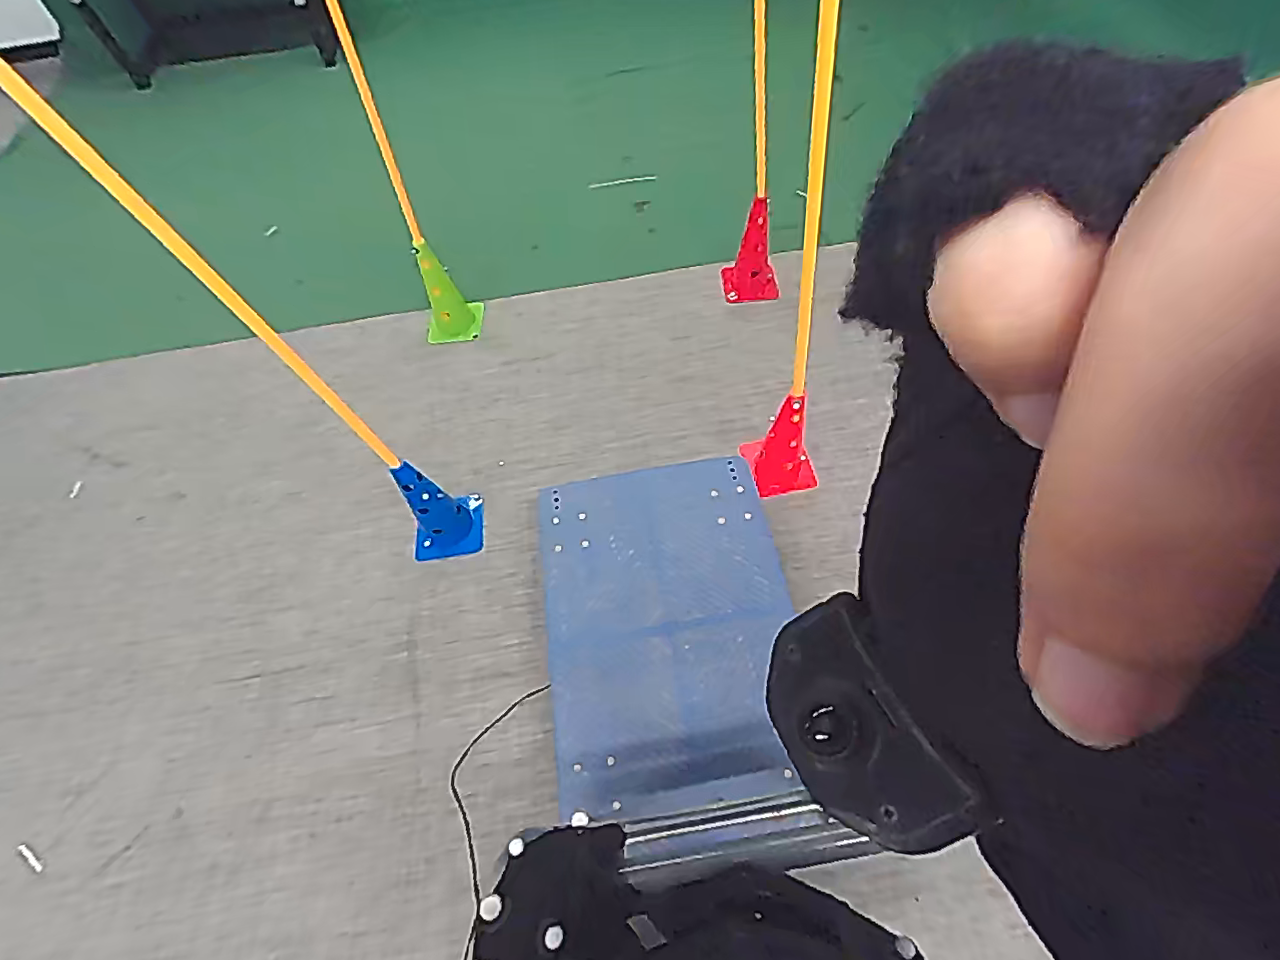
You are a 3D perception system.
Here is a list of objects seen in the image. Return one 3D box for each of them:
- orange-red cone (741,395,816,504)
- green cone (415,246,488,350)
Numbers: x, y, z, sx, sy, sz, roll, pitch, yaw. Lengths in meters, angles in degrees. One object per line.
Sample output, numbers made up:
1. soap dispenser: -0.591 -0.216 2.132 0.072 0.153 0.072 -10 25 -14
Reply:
1. orange-red cone: 0.409 -0.110 1.522 0.199 0.360 0.198 -10 58 0
2. green cone: -0.707 -0.674 1.944 0.202 0.368 0.200 -6 58 2
